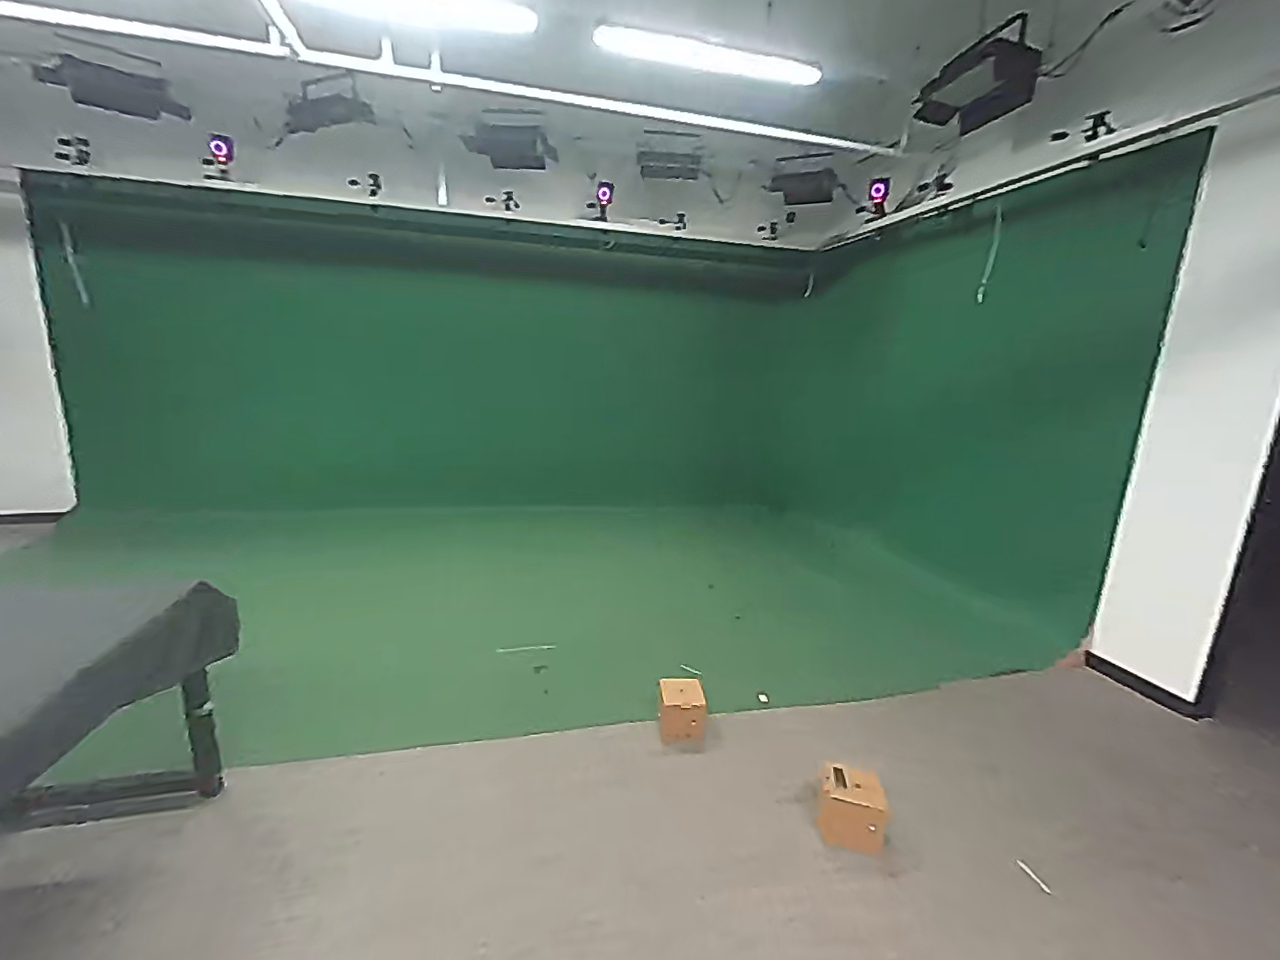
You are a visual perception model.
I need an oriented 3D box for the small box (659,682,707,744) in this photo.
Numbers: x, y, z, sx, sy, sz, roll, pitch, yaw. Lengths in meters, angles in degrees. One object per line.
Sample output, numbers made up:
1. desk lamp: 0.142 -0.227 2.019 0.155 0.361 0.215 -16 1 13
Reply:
1. small box: 0.171 0.938 2.177 0.168 0.176 0.179 3 12 -6
